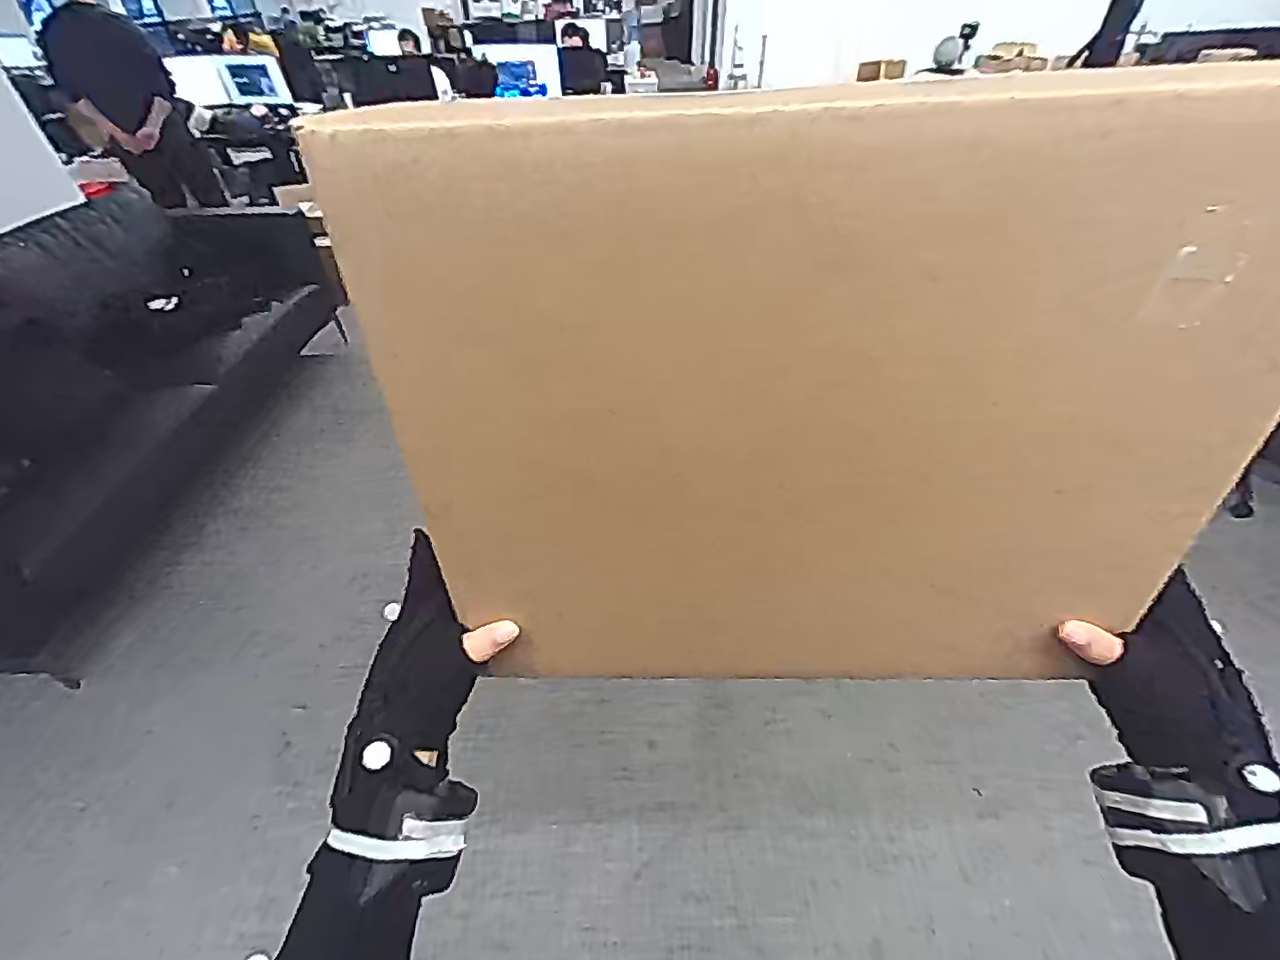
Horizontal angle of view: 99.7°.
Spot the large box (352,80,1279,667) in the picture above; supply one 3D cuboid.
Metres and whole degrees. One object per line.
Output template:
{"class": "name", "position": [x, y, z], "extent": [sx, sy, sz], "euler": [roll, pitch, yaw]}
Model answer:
{"class": "large box", "position": [0.095, -0.086, 0.394], "extent": [0.408, 0.320, 0.320], "euler": [0, 35, 2]}
